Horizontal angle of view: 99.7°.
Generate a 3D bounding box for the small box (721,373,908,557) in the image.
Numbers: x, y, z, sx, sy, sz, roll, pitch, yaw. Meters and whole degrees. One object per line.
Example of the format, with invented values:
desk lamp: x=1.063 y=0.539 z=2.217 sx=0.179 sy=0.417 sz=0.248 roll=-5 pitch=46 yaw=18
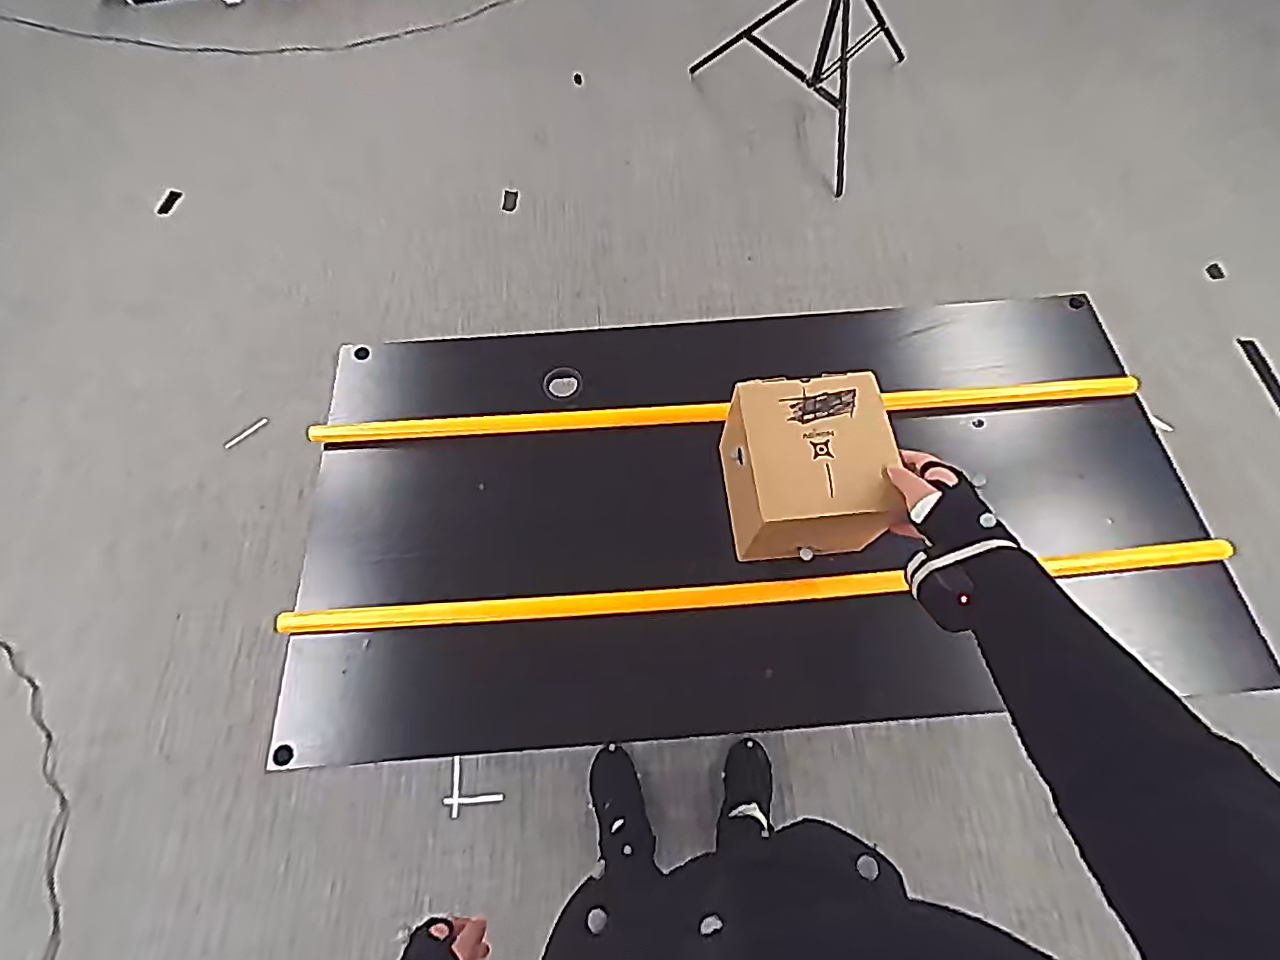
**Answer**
small box: x=0.202 y=-0.013 z=0.685 sx=0.168 sy=0.176 sz=0.179 roll=-5 pitch=67 yaw=-1
